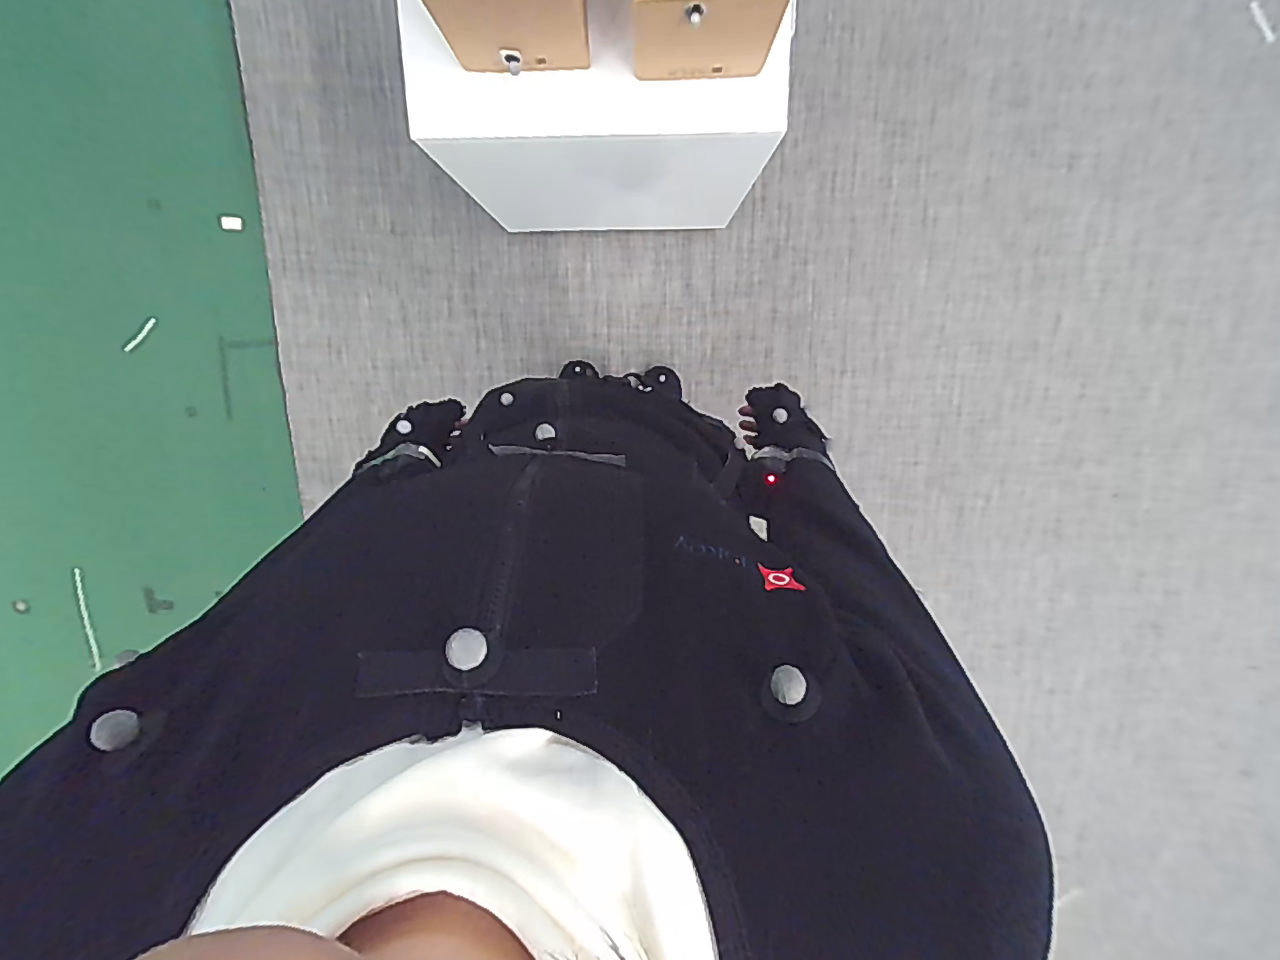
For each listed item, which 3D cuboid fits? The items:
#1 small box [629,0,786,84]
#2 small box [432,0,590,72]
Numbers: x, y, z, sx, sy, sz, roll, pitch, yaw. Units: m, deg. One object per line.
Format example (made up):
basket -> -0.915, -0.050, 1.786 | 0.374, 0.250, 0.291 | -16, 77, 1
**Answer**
small box -> 0.071, -0.595, 0.618 | 0.168, 0.176, 0.179 | -1, 101, 0
small box -> -0.149, -0.601, 0.605 | 0.168, 0.176, 0.179 | -3, 103, 1
